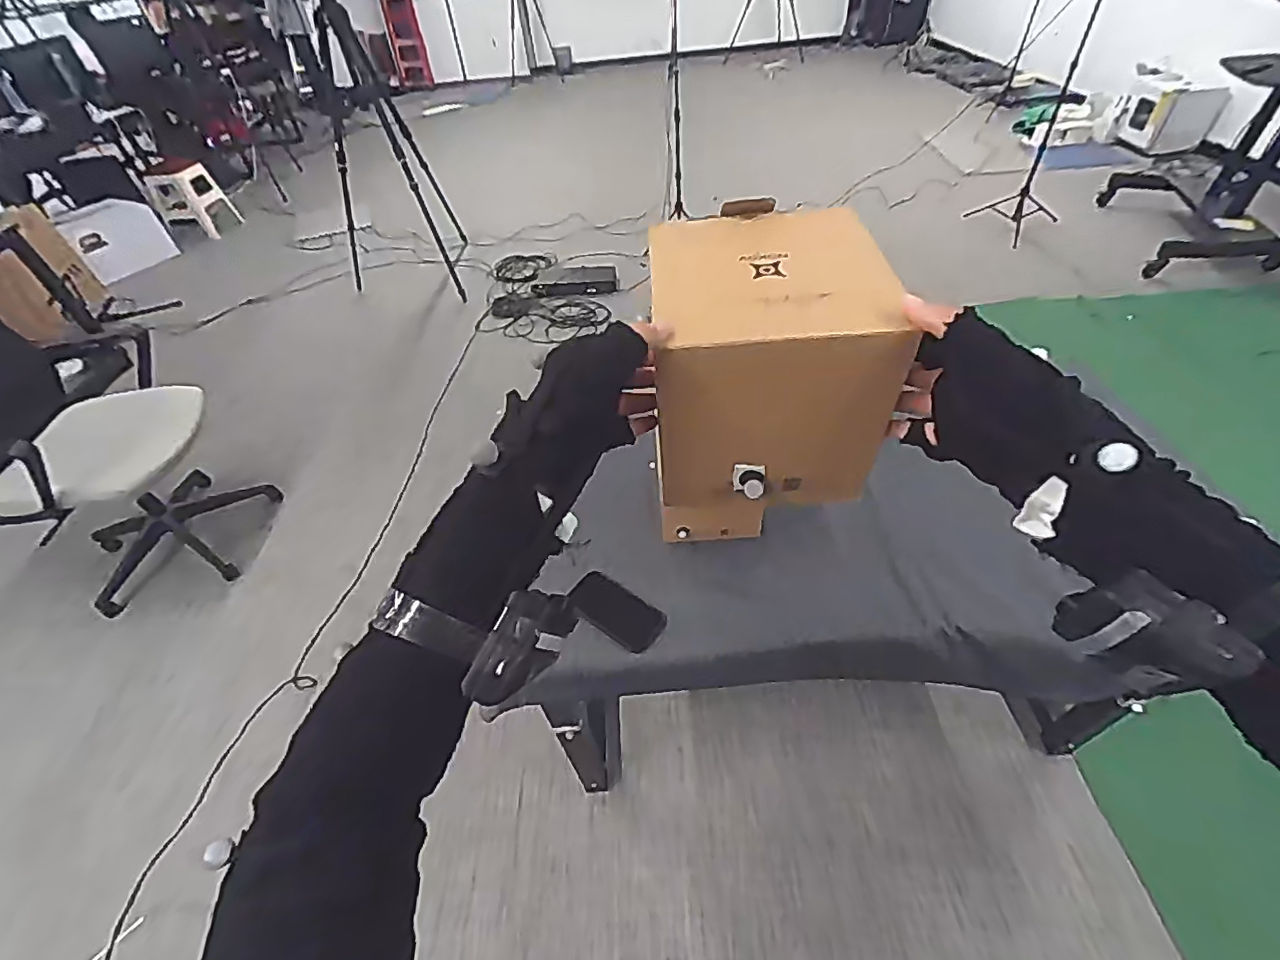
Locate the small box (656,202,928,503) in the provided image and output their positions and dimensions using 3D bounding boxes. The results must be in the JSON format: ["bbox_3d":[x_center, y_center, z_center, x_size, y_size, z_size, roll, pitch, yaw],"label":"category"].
[{"bbox_3d":[0.098,-0.101,0.443,0.168,0.176,0.179,-3,50,3],"label":"small box"}]

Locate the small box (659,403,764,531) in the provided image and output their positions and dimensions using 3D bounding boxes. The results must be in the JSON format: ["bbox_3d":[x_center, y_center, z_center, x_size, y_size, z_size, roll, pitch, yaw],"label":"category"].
[{"bbox_3d":[0.120,-0.025,0.925,0.168,0.176,0.179,-3,45,2],"label":"small box"}]
